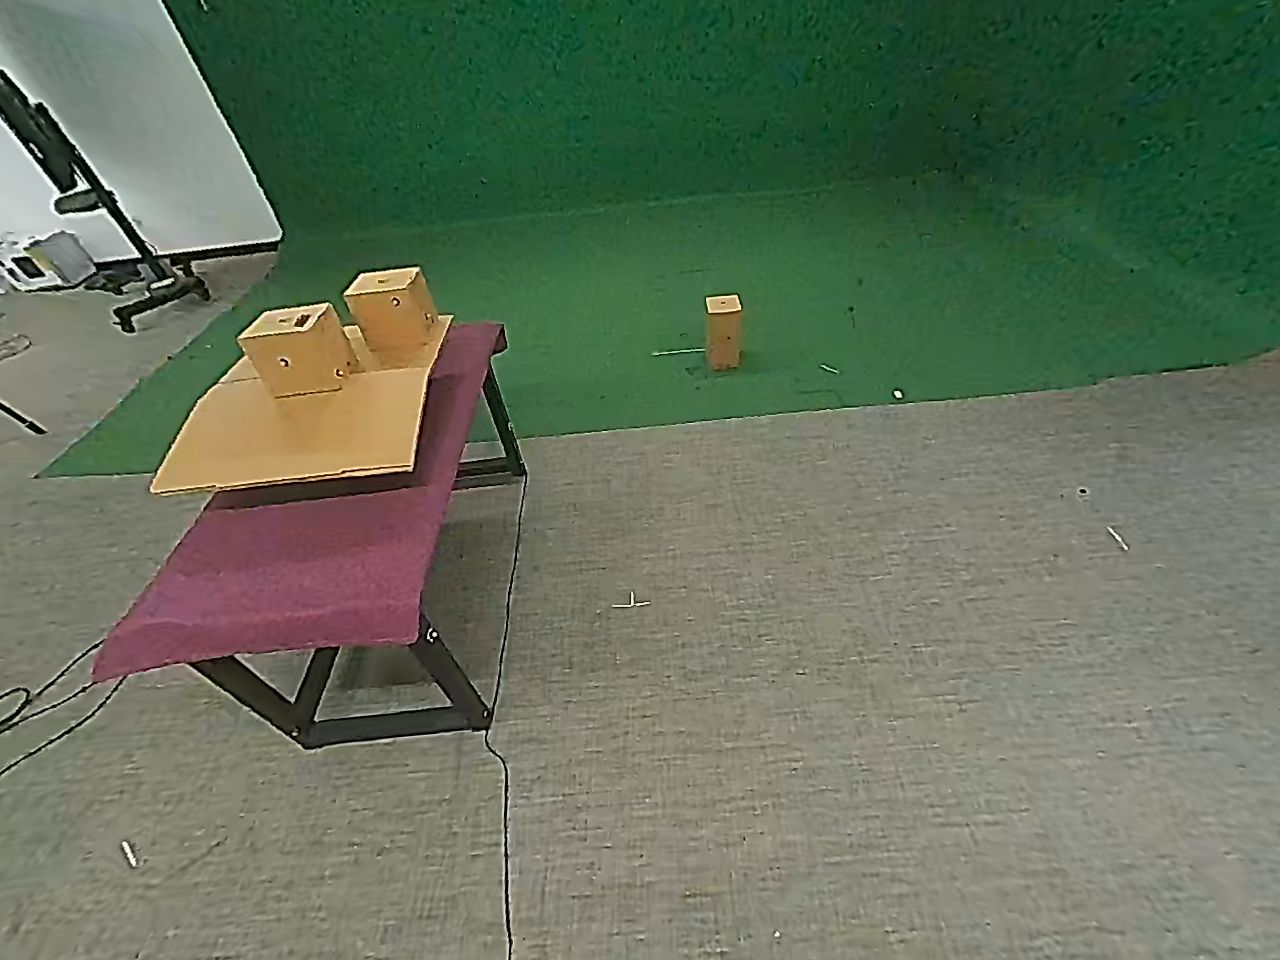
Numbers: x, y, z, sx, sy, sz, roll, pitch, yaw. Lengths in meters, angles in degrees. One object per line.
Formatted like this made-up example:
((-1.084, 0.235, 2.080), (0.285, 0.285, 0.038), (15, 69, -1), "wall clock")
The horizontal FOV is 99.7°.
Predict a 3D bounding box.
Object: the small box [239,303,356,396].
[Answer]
((-0.875, -0.337, 1.406), (0.179, 0.176, 0.168), (-7, 41, 0), "small box")

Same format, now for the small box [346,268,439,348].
((-0.708, -0.495, 1.567), (0.179, 0.176, 0.168), (-6, 41, -1), "small box")

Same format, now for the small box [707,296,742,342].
((0.435, -0.833, 2.807), (0.168, 0.176, 0.179), (-3, 44, 4), "small box")
